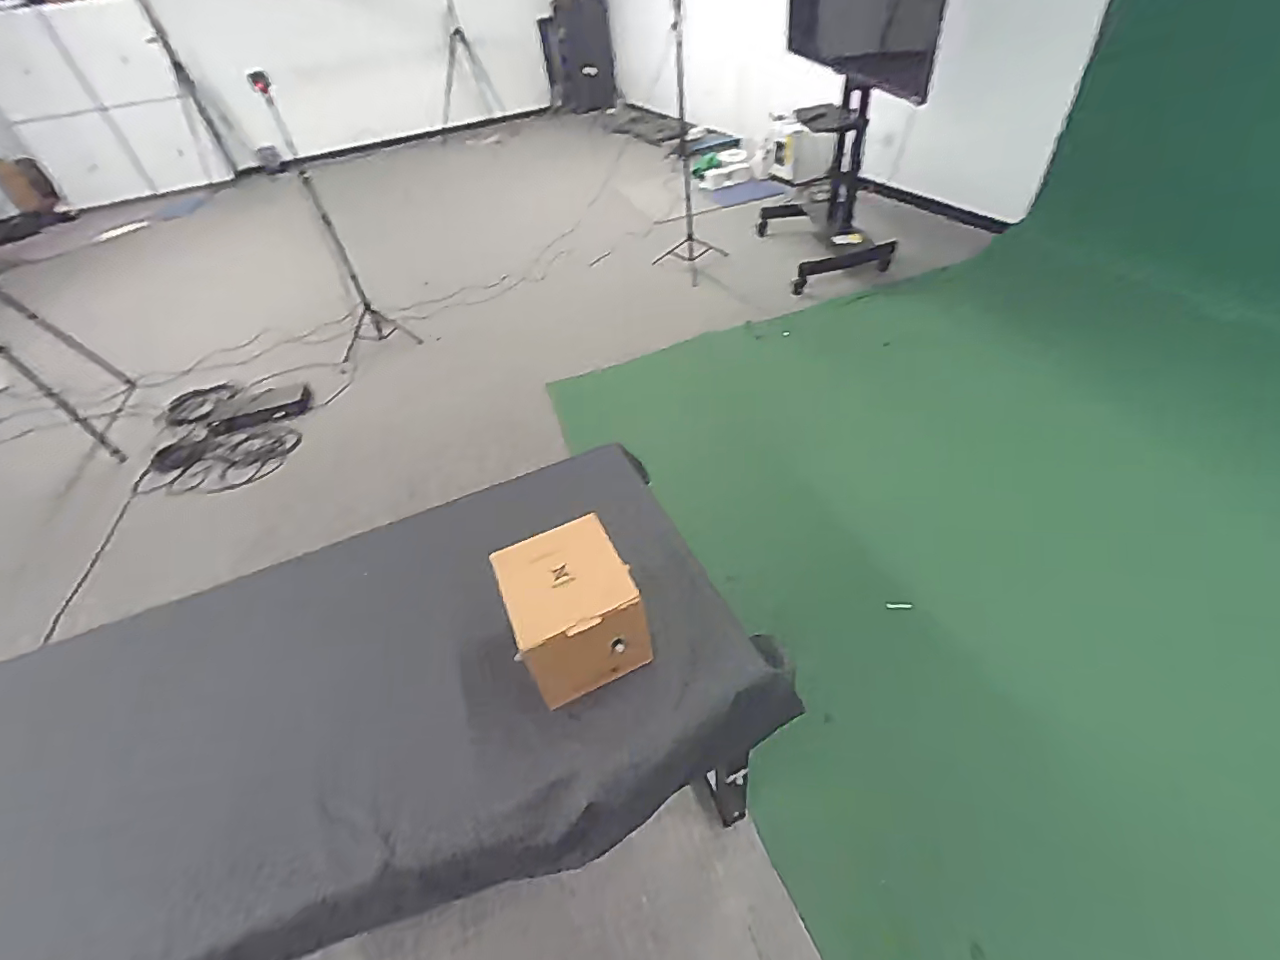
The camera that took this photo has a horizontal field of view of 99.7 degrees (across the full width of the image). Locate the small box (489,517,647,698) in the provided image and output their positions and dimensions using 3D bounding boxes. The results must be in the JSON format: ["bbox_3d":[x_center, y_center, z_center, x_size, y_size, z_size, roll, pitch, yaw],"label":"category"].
[{"bbox_3d":[-0.101,0.192,0.795,0.168,0.176,0.179,-22,43,-15],"label":"small box"}]
